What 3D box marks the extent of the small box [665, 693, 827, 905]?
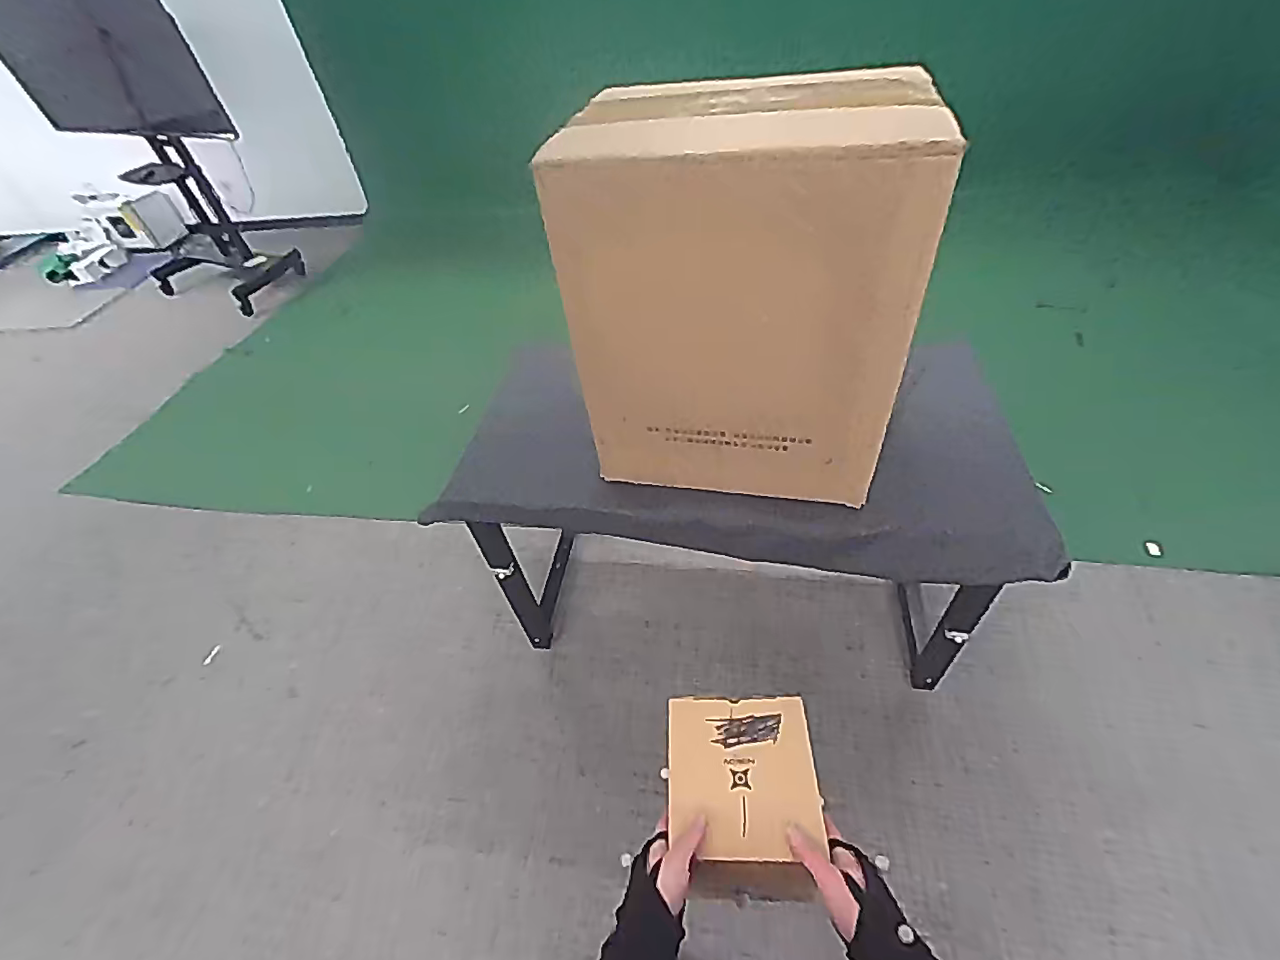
[{"bbox_3d":[0.122,0.386,0.661,0.168,0.176,0.179,-2,41,8],"label":"small box"}]
